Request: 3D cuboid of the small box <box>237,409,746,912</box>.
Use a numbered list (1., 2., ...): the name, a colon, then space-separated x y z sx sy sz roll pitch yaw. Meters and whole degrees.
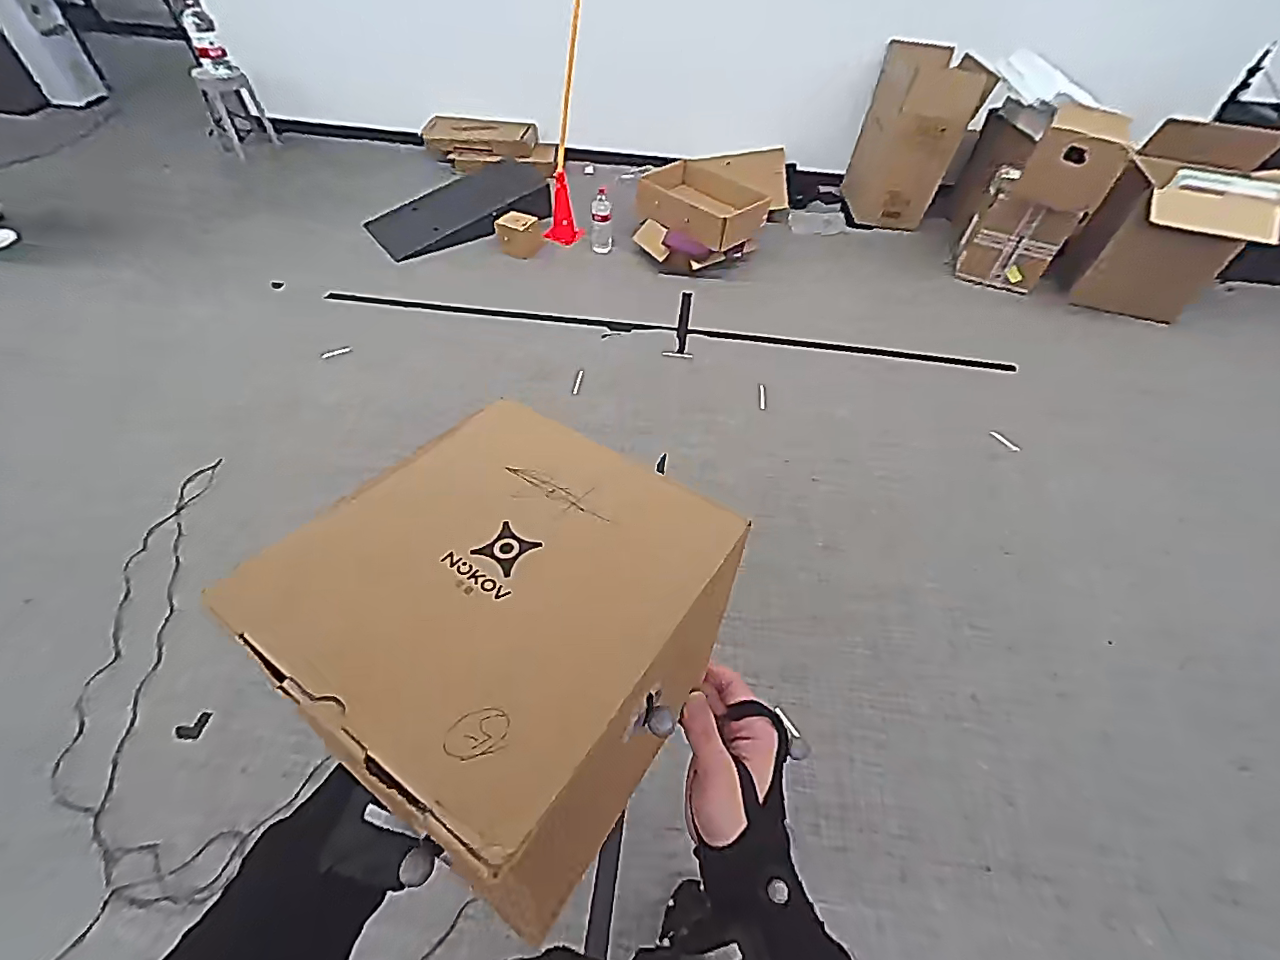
1. small box: -0.062 0.095 0.306 0.168 0.176 0.179 27 48 20
